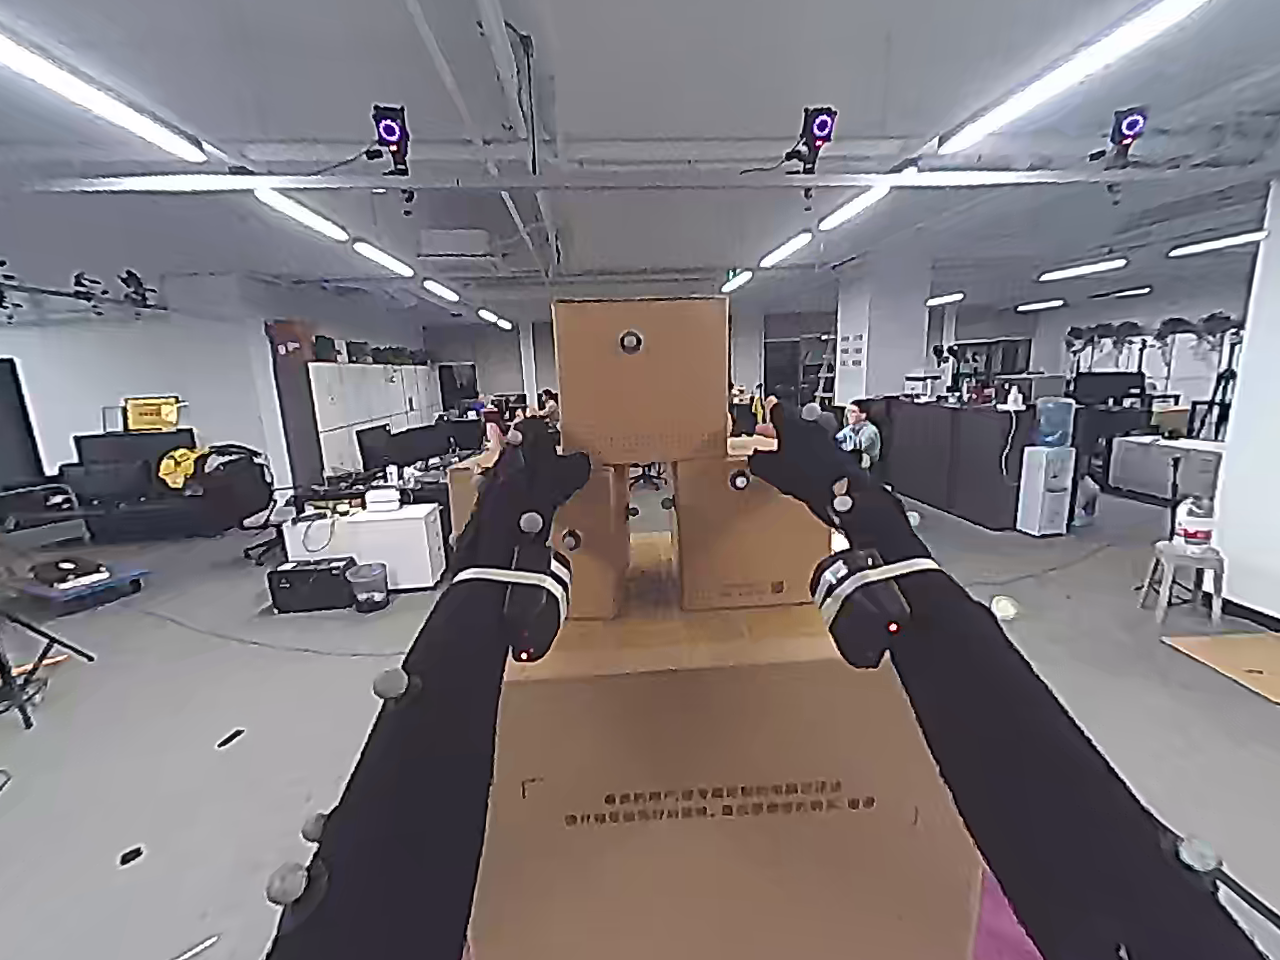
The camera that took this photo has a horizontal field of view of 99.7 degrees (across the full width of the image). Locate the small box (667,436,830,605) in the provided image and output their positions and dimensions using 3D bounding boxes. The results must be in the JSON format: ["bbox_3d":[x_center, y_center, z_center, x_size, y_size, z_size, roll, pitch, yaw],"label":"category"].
[{"bbox_3d":[0.120,0.040,0.661,0.168,0.176,0.179,-4,10,-1],"label":"small box"}]

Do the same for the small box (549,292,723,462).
[{"bbox_3d":[-0.005,-0.115,0.627,0.179,0.176,0.168,-3,11,-4],"label":"small box"}]
